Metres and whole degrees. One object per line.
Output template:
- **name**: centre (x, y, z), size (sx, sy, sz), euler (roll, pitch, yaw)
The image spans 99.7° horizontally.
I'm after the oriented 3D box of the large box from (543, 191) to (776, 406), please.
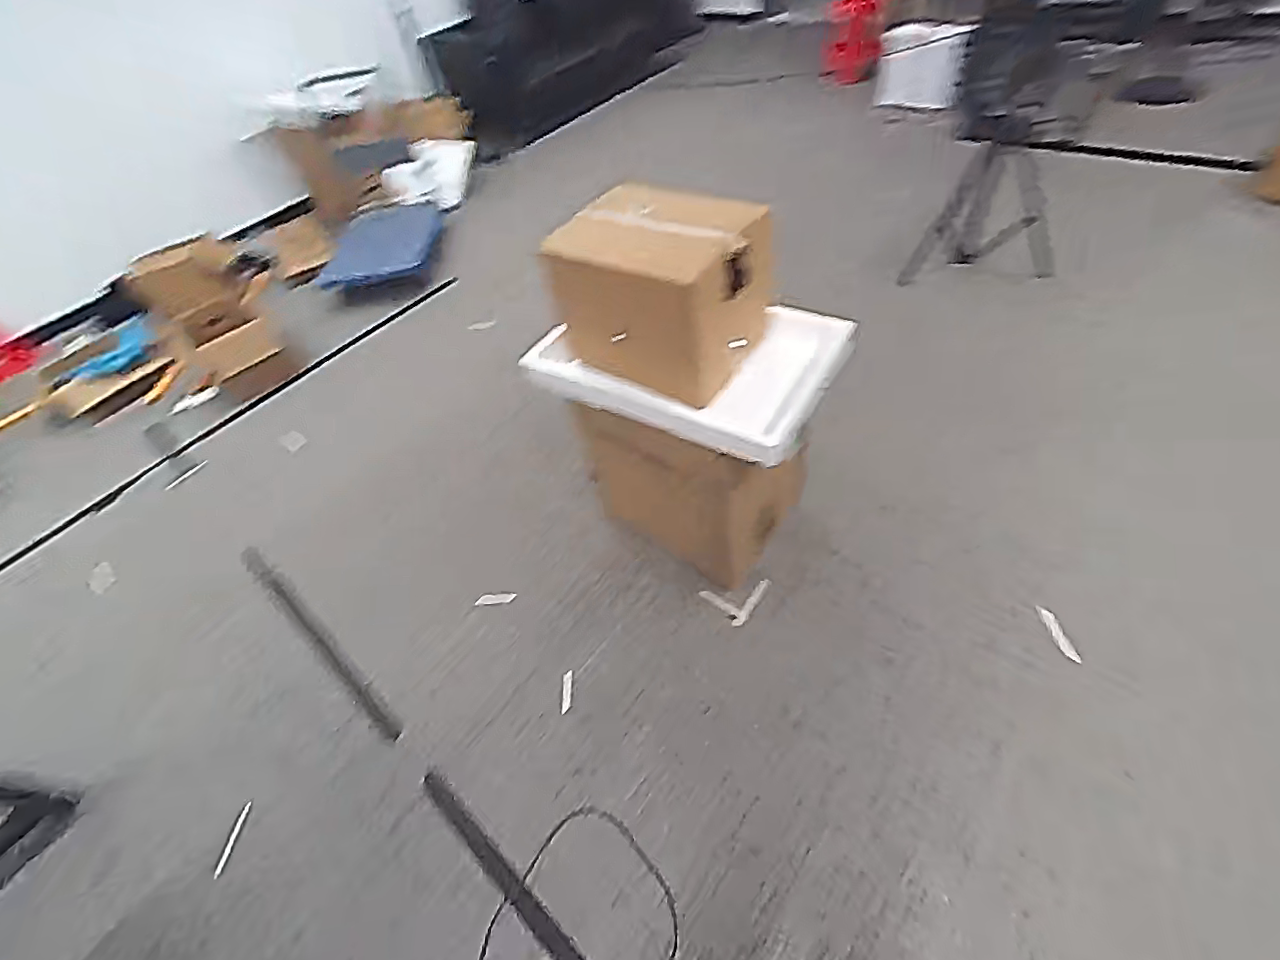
- **large box**: centre (0.062, -0.422, 1.237), size (0.408, 0.320, 0.320), euler (25, 58, 30)
